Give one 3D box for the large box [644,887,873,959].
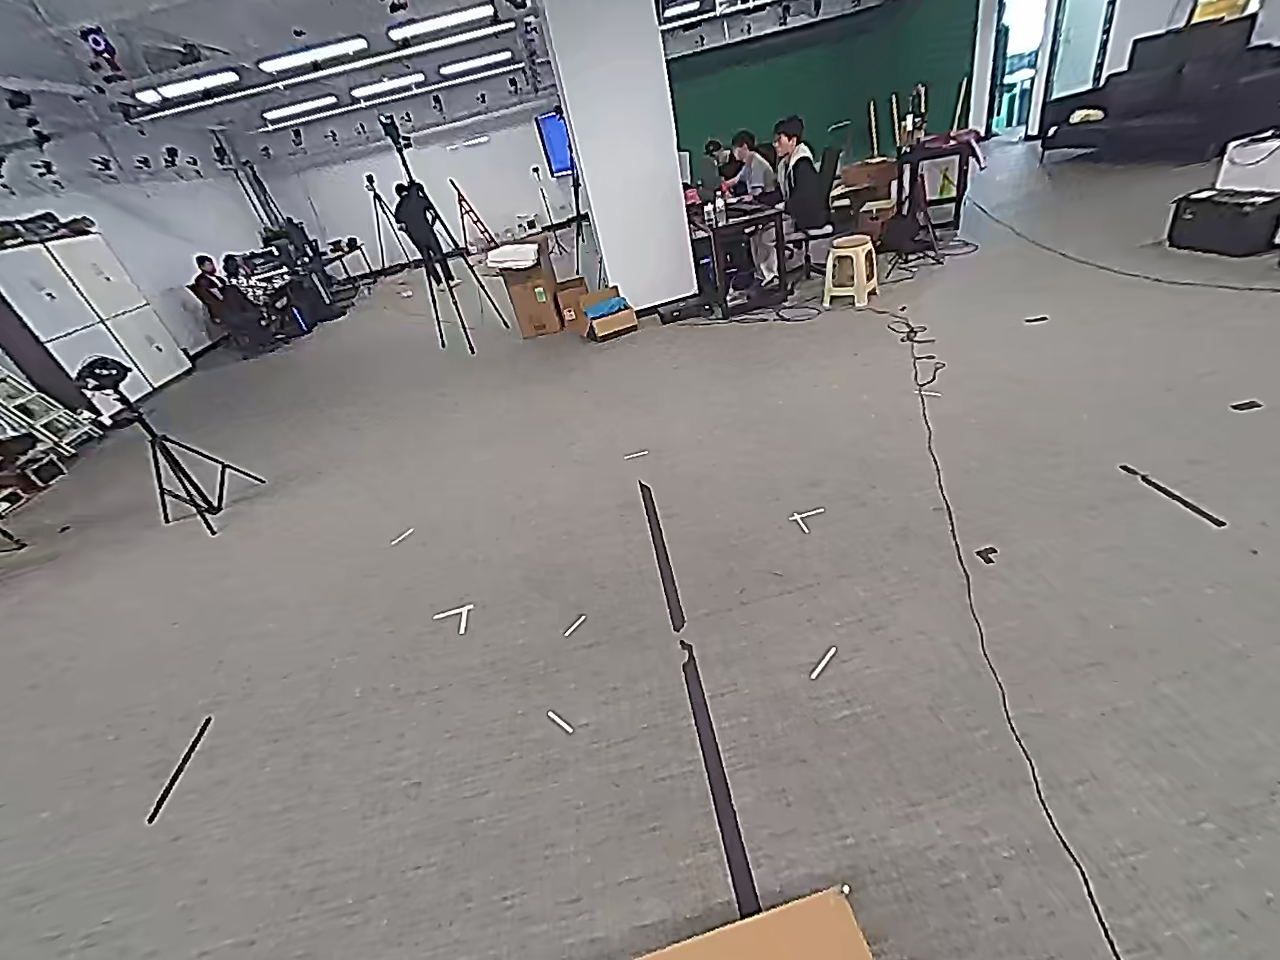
[{"bbox_3d":[0.245,1.011,0.939,0.408,0.320,0.320,-17,32,-3],"label":"large box"}]
